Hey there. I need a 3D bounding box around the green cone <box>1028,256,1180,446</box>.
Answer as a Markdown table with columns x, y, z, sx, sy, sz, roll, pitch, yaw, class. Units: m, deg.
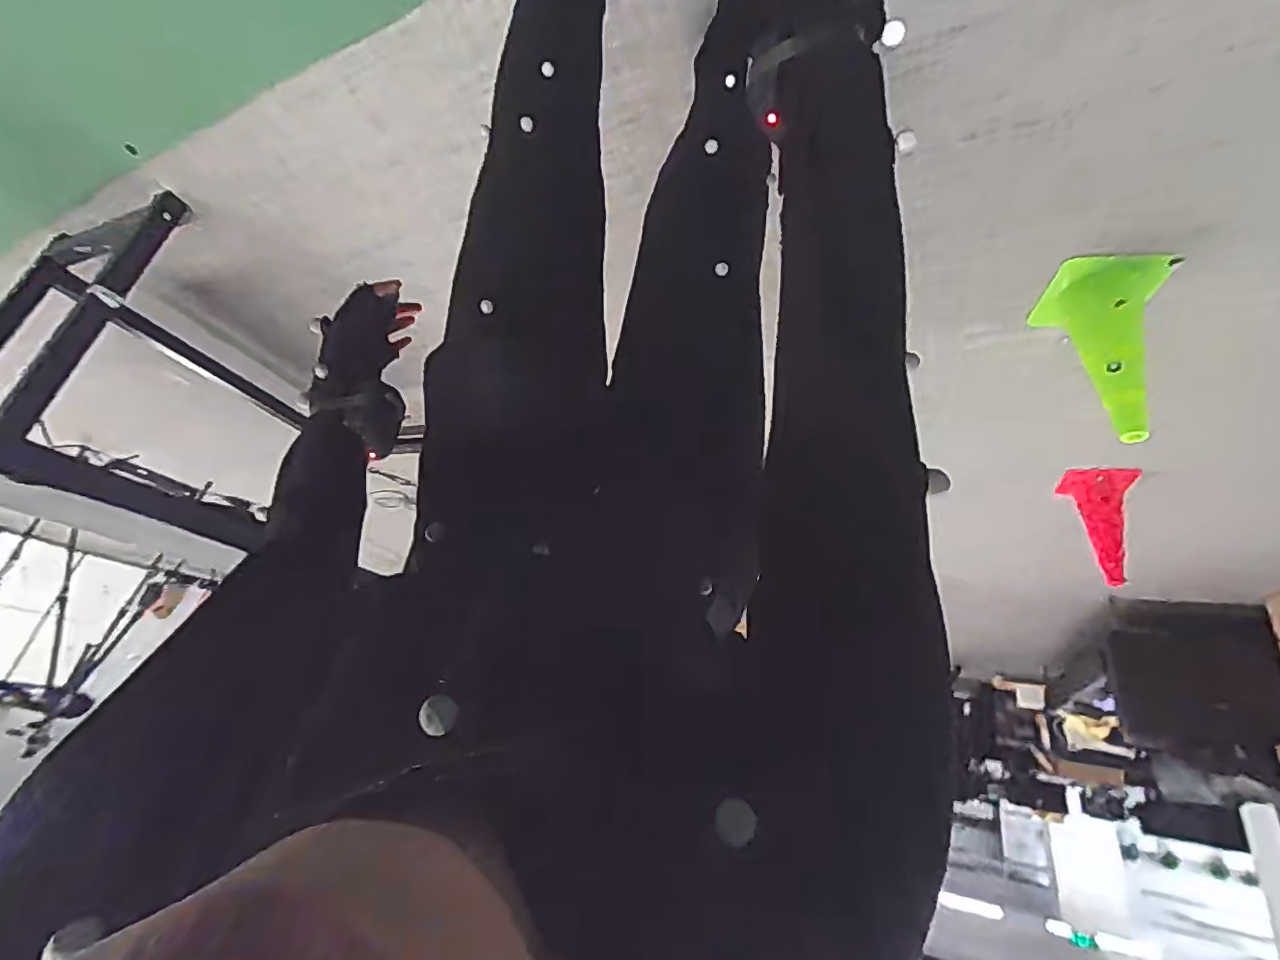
| x | y | z | sx | sy | sz | roll | pitch | yaw | class |
| --- | --- | --- | --- | --- | --- | --- | --- | --- | --- |
| 0.939 | -0.237 | 1.072 | 0.200 | 0.368 | 0.202 | 3 | 155 | 15 | green cone |
